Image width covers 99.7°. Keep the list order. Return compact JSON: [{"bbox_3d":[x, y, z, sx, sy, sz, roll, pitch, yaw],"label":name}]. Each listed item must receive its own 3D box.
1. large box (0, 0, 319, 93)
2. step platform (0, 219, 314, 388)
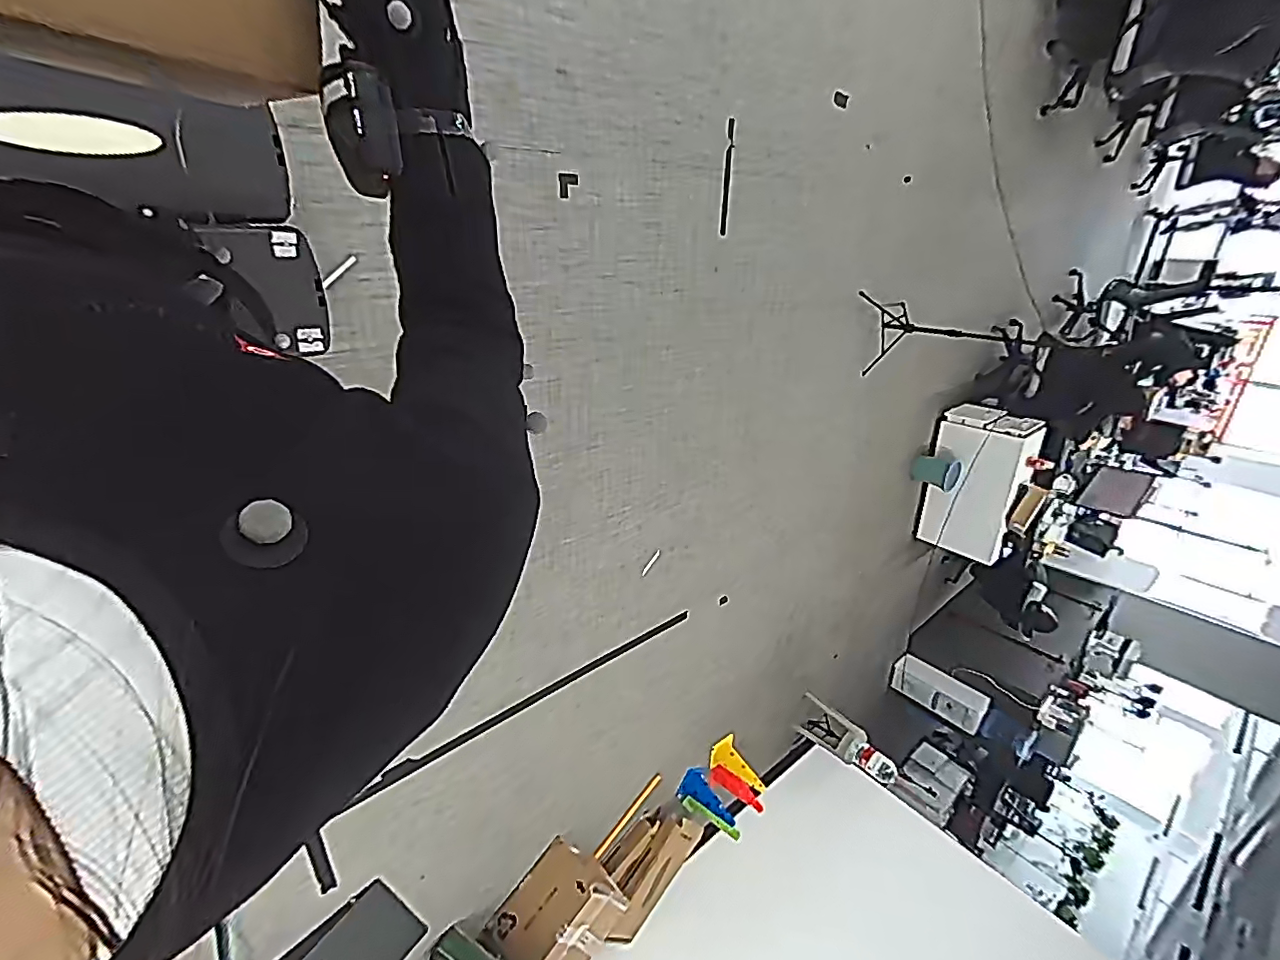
[{"bbox_3d":[-0.431,-0.422,0.257,0.408,0.320,0.320,-13,125,-40],"label":"large box"},{"bbox_3d":[-1.056,-0.365,1.087,0.684,0.204,0.286,-18,119,-33],"label":"step platform"}]
